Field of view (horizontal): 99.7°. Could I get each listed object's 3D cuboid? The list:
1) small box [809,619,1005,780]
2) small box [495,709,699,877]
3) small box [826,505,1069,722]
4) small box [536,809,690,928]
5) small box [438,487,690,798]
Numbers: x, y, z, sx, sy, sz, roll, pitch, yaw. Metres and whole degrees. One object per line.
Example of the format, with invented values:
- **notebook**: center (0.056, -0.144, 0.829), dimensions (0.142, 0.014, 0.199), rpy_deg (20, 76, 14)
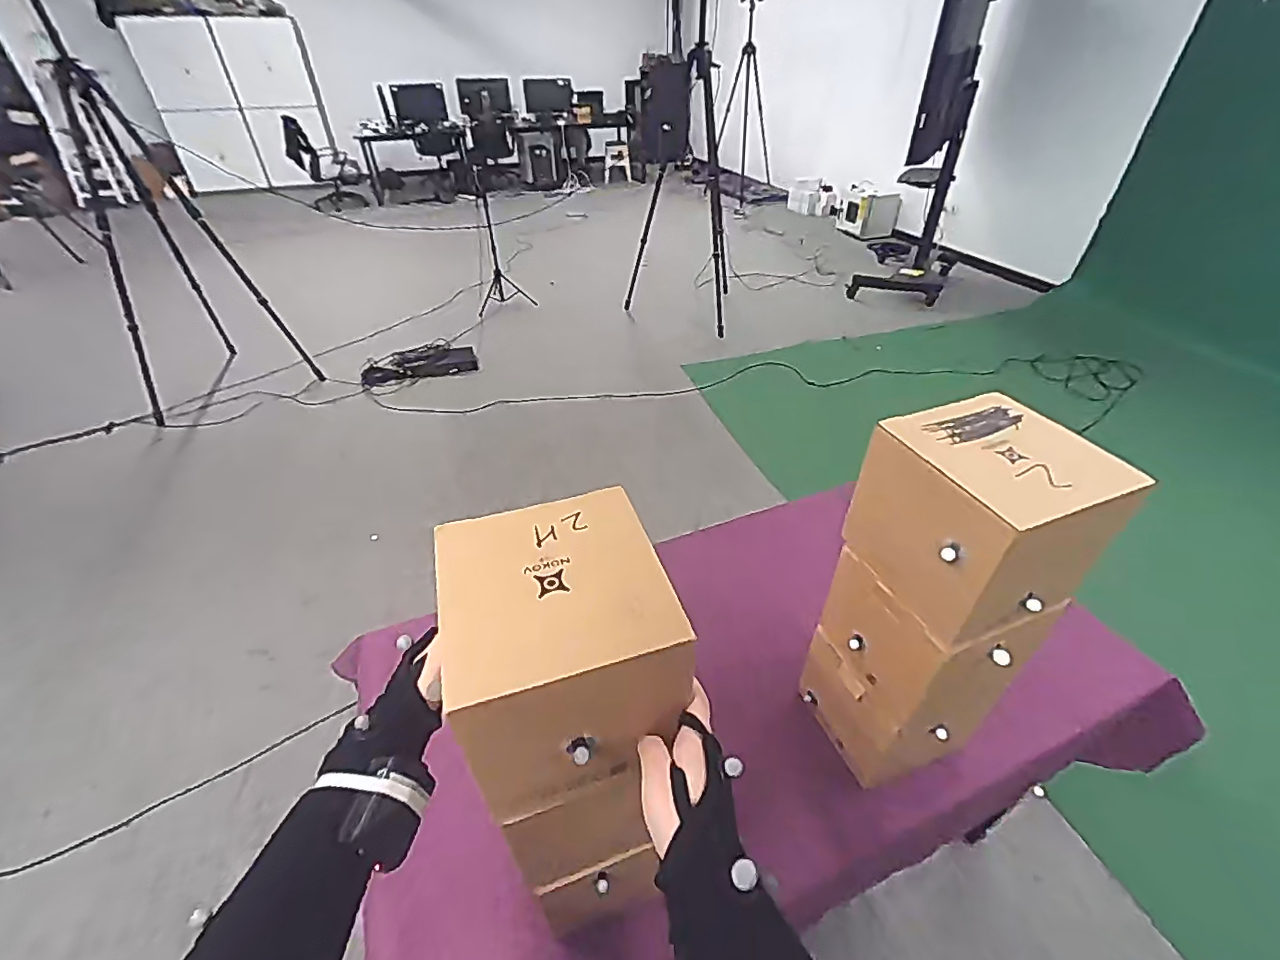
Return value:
- **small box**: center (0.360, 0.290, 0.771), dimensions (0.179, 0.176, 0.168), rpy_deg (-14, 41, -15)
- **small box**: center (-0.054, 0.266, 0.557), dimensions (0.179, 0.176, 0.168), rpy_deg (-13, 40, -13)
- **small box**: center (0.358, 0.163, 0.669), dimensions (0.179, 0.176, 0.168), rpy_deg (-16, 42, -15)
- **small box**: center (-0.050, 0.394, 0.660), dimensions (0.168, 0.176, 0.179), rpy_deg (-14, 40, -14)
- **small box**: center (-0.064, 0.136, 0.456), dimensions (0.168, 0.176, 0.179), rpy_deg (-12, 39, -13)
